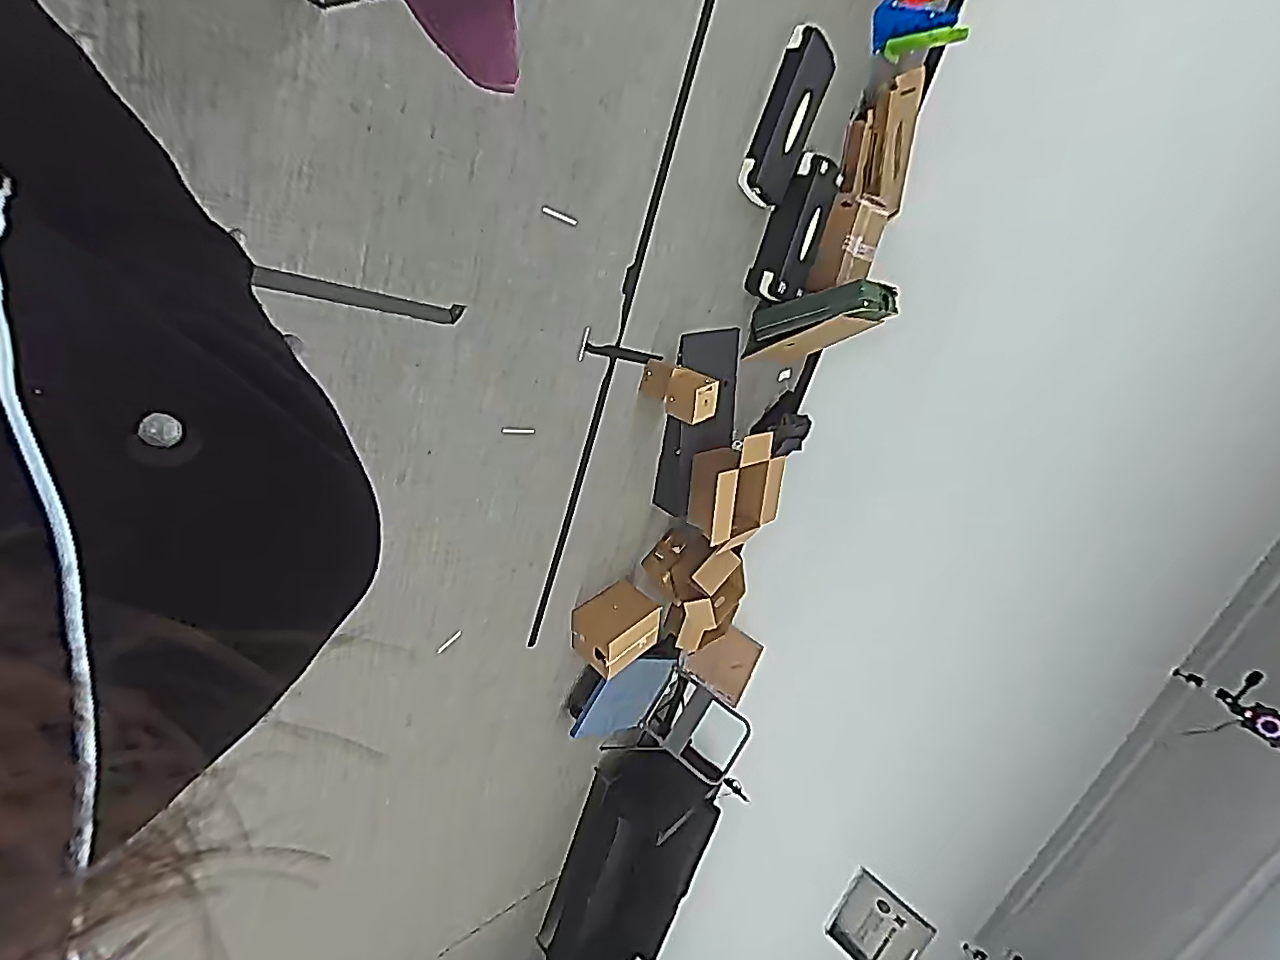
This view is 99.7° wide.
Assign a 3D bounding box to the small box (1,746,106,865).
[{"bbox_3d":[-1.561,0.855,1.438,0.179,0.176,0.168,-8,121,-51],"label":"small box"}]
